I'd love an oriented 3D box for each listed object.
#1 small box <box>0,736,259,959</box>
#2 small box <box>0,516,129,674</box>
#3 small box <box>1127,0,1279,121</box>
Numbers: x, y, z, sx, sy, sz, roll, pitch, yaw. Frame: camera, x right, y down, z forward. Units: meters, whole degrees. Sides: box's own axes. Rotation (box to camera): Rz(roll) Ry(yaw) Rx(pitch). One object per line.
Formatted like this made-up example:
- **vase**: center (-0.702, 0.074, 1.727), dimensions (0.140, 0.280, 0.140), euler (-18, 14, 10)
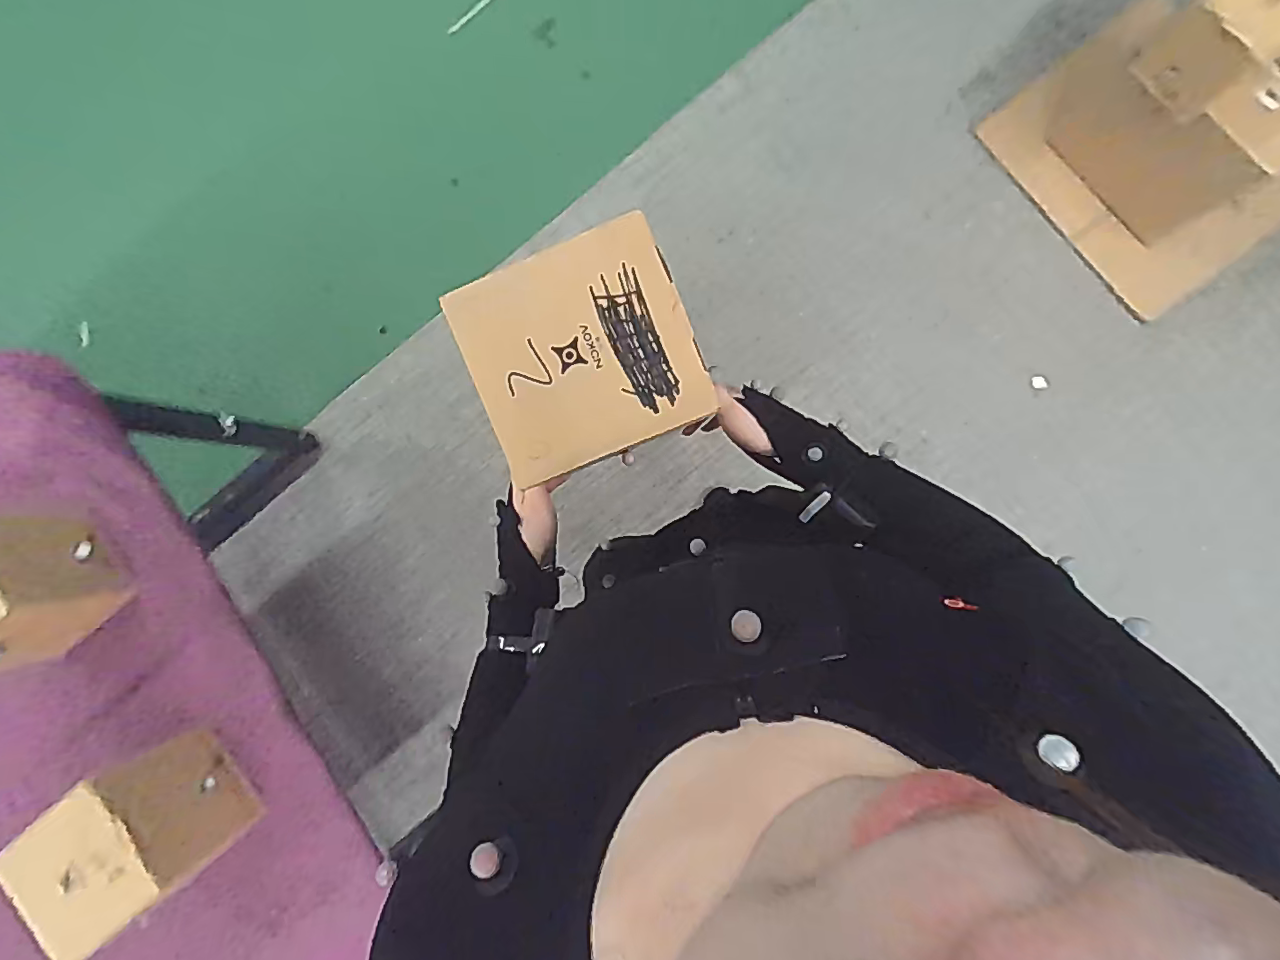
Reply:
- **small box**: center (-0.671, 0.489, 0.723), dimensions (0.179, 0.176, 0.168), euler (-41, 85, 3)
- **small box**: center (-0.896, 0.166, 0.758), dimensions (0.179, 0.176, 0.168), euler (-39, 85, 1)
- **small box**: center (1.135, -0.868, 1.060), dimensions (0.179, 0.176, 0.168), euler (-38, 85, 4)
